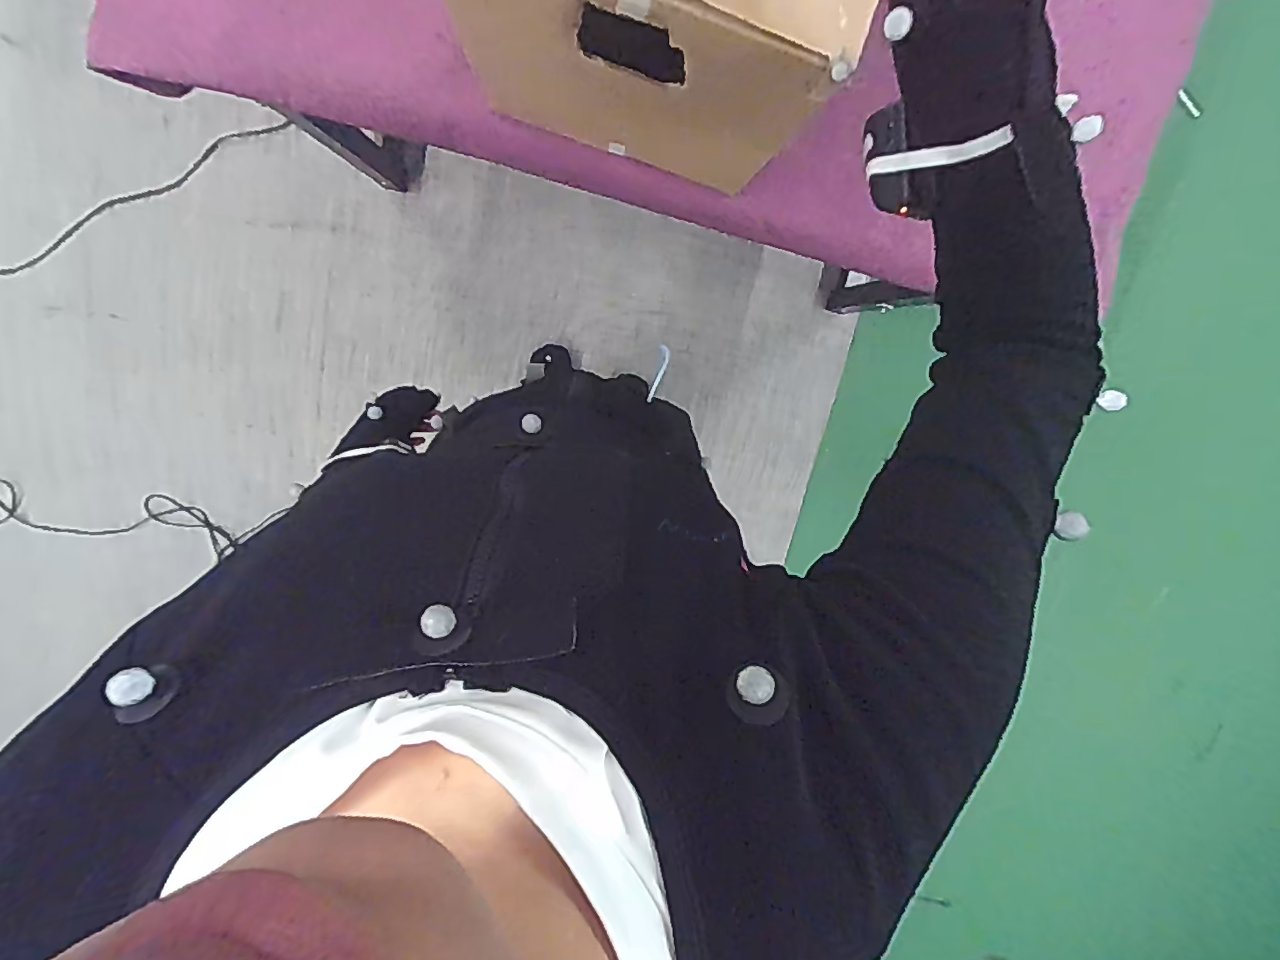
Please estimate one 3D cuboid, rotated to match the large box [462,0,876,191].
[{"bbox_3d":[0.045,-0.547,0.476,0.320,0.320,0.408,15,103,-8],"label":"large box"}]
